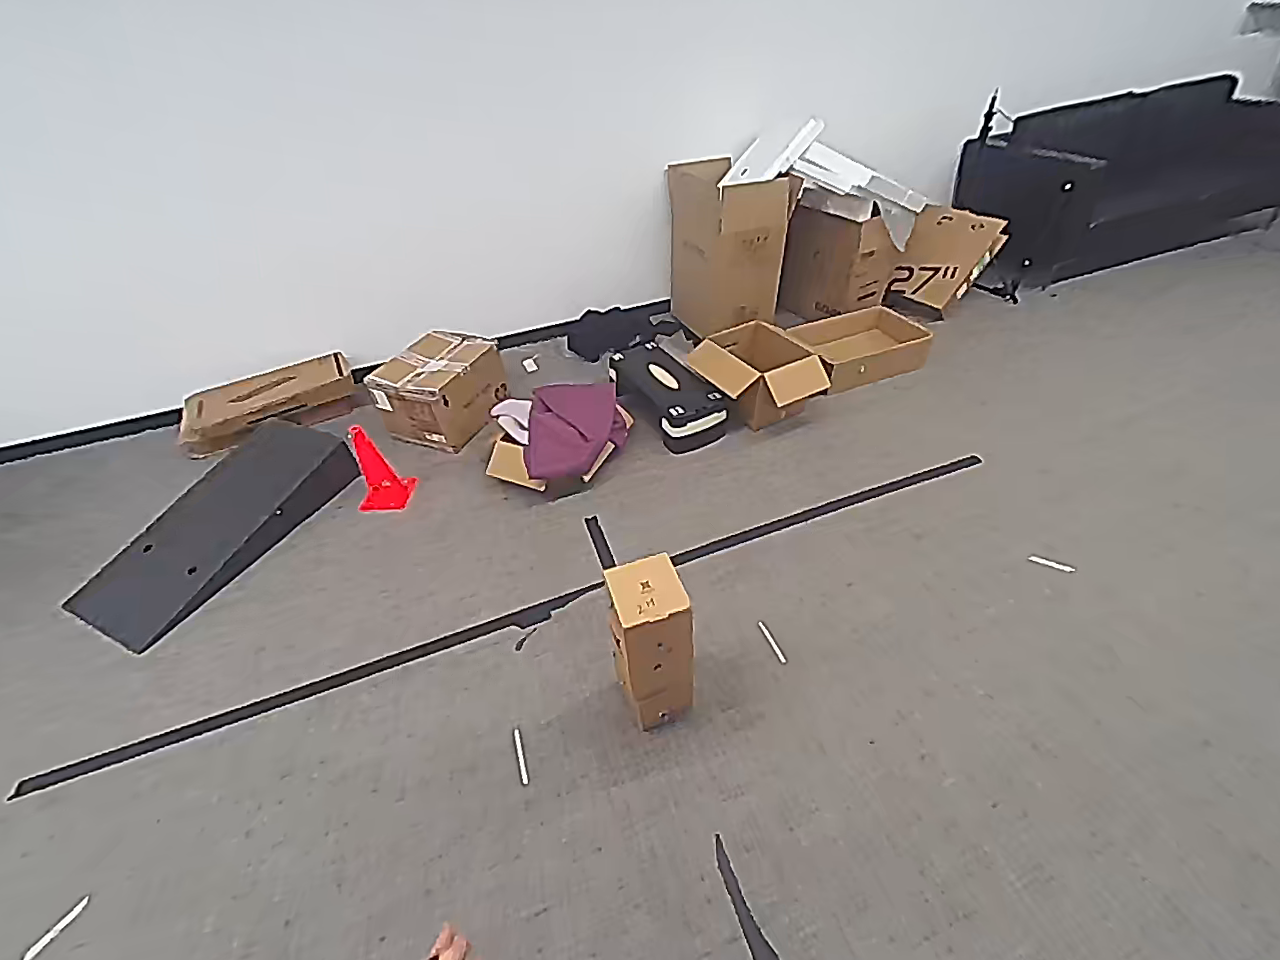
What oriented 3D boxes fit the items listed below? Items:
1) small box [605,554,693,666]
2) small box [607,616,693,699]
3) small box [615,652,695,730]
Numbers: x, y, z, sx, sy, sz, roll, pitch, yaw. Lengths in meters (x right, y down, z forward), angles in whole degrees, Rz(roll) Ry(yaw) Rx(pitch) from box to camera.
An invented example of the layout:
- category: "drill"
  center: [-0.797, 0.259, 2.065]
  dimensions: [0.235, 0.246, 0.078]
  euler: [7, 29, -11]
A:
- category: "small box"
  center: [0.020, 0.314, 1.303]
  dimensions: [0.168, 0.176, 0.179]
  euler: [-15, 43, -10]
- category: "small box"
  center: [0.029, 0.439, 1.410]
  dimensions: [0.179, 0.176, 0.168]
  euler: [-17, 43, -13]
- category: "small box"
  center: [0.041, 0.562, 1.519]
  dimensions: [0.168, 0.176, 0.179]
  euler: [-21, 45, -16]
